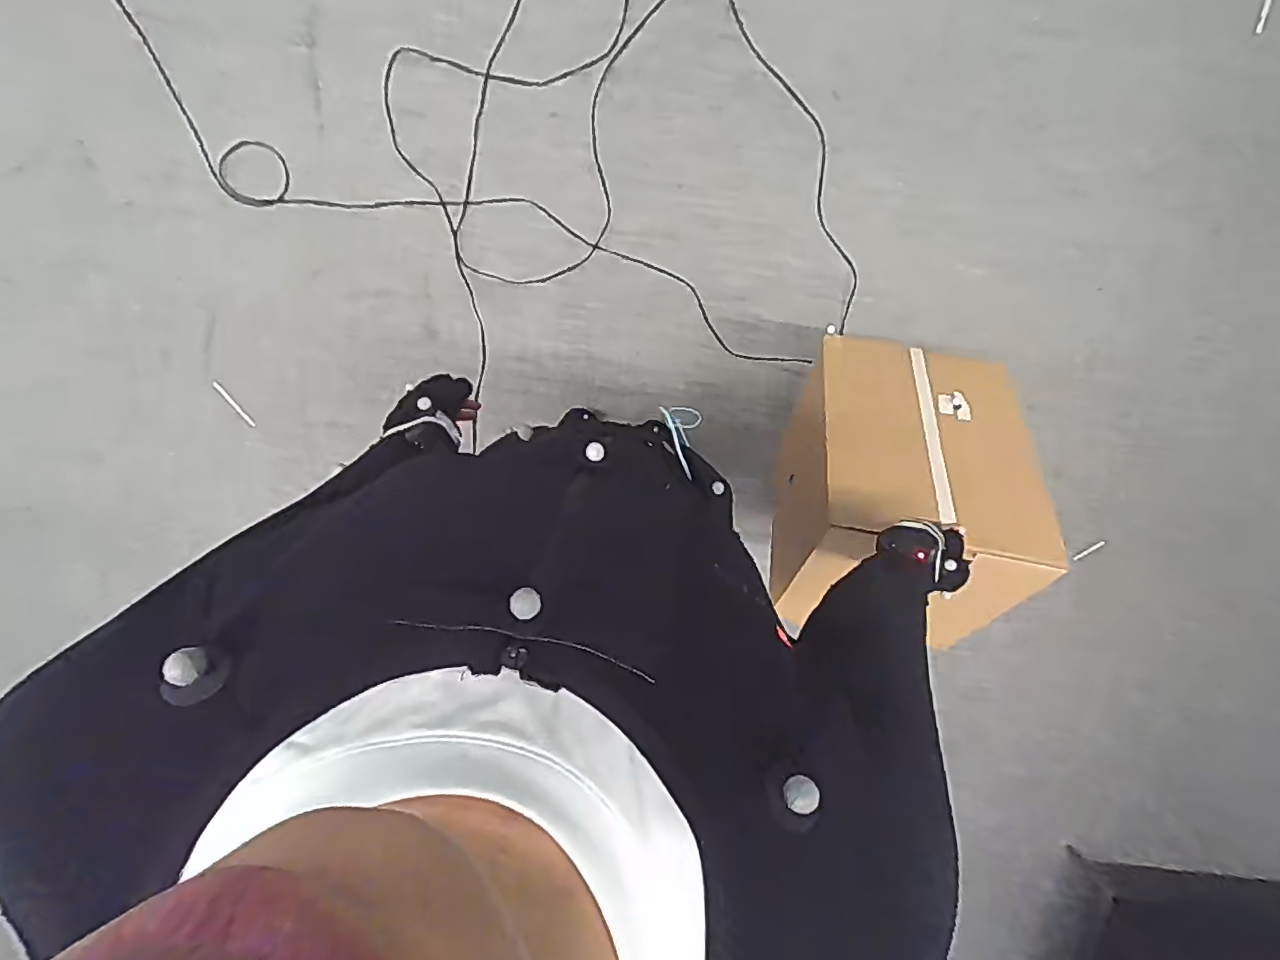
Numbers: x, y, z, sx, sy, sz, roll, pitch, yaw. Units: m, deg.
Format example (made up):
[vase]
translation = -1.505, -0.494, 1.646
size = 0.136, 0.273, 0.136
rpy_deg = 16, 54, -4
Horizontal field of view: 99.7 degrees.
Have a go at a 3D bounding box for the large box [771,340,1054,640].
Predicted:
[large box]
translation = 0.424, 0.019, 0.960
size = 0.320, 0.408, 0.320
rpy_deg = 12, 143, 2
